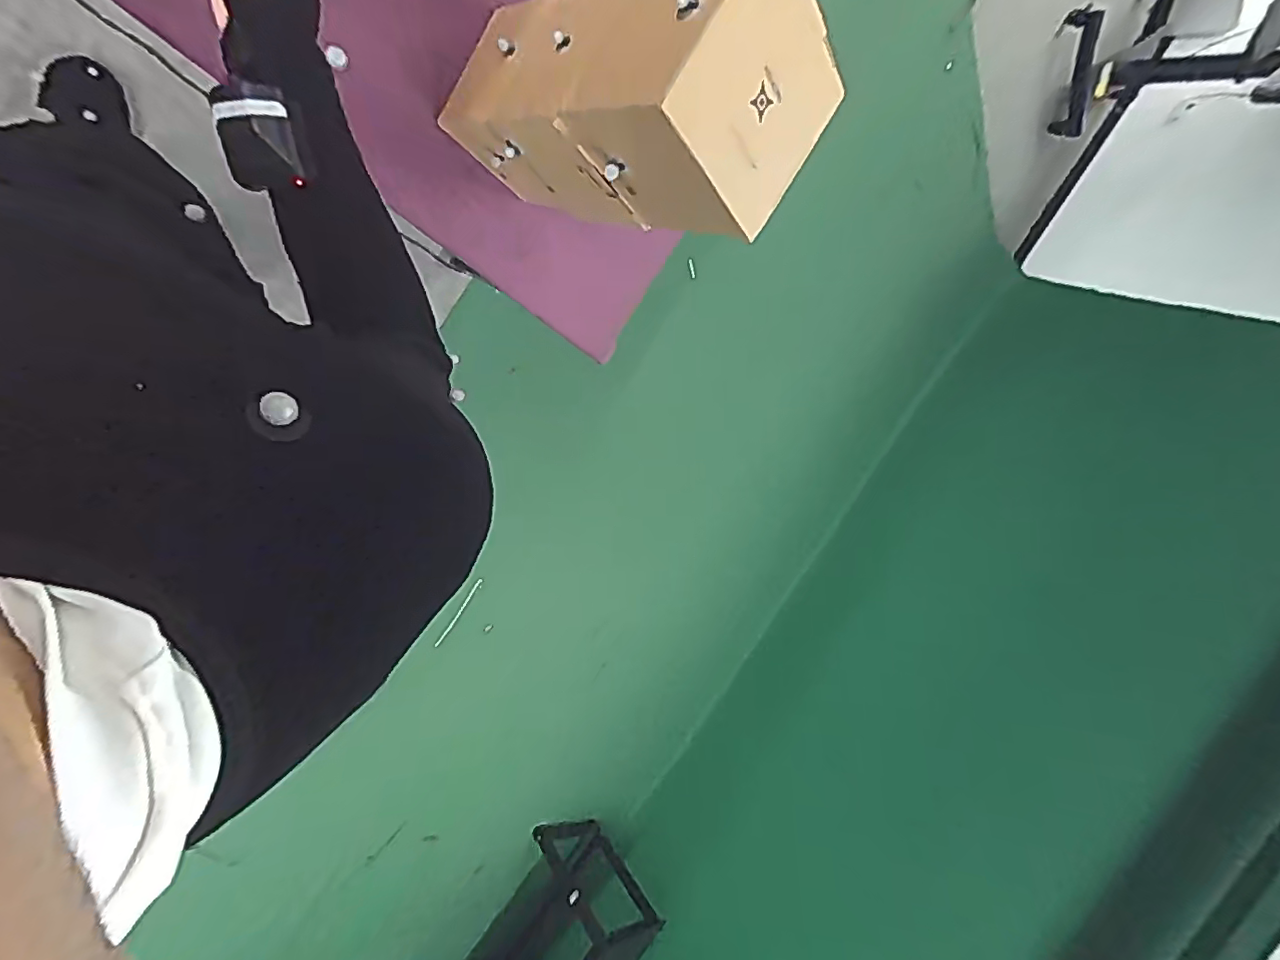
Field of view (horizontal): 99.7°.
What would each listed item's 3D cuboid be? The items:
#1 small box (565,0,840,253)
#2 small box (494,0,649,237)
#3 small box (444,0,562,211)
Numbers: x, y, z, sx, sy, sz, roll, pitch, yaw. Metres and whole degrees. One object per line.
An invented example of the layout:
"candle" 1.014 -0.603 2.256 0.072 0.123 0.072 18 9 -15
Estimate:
"small box" 0.058 -0.359 0.530 0.168 0.176 0.179 31 92 -48
"small box" -0.046 -0.421 0.639 0.168 0.176 0.179 30 92 -49
"small box" -0.145 -0.497 0.747 0.168 0.176 0.179 27 95 -48
